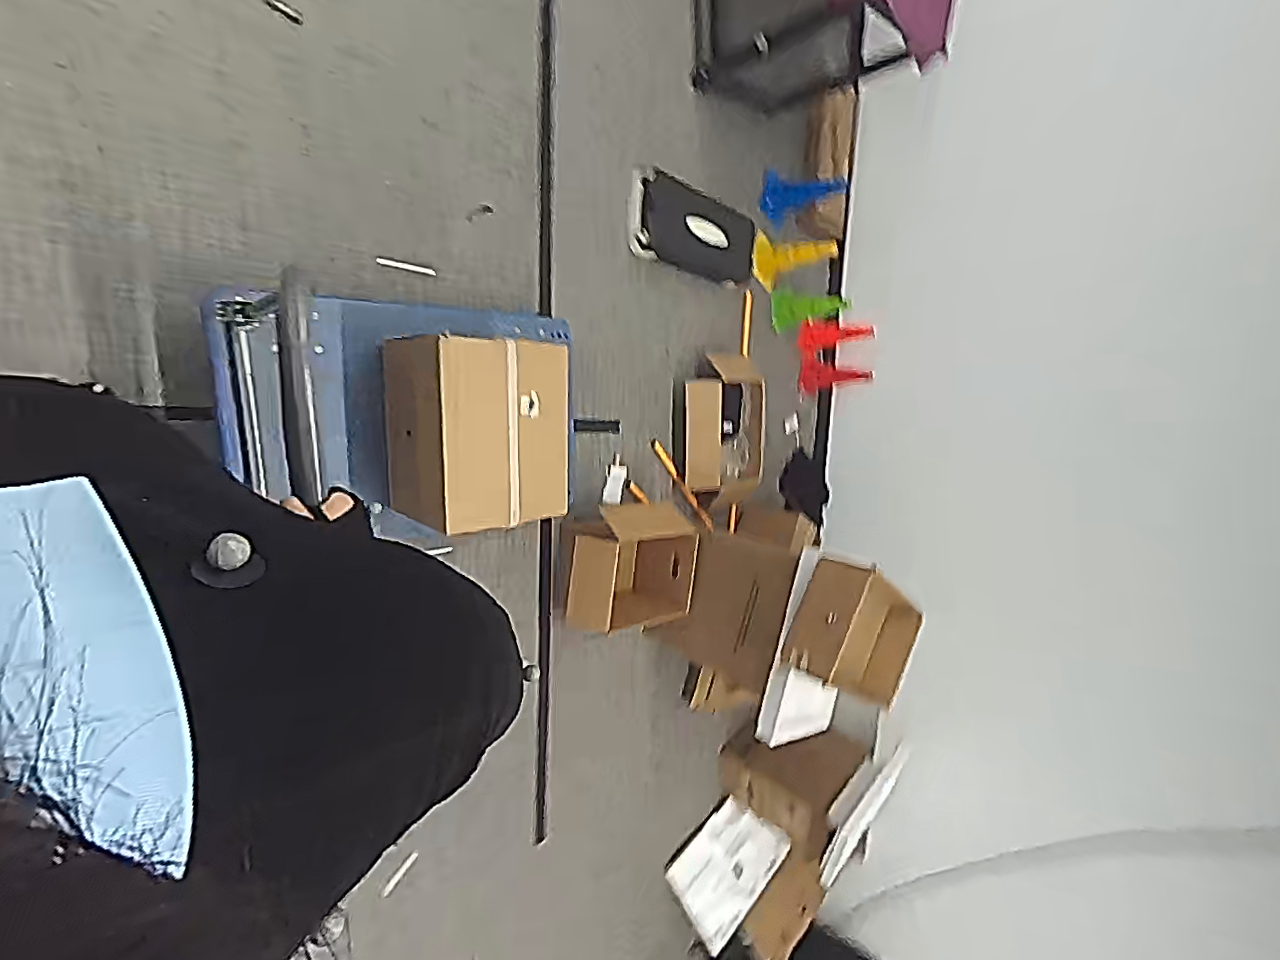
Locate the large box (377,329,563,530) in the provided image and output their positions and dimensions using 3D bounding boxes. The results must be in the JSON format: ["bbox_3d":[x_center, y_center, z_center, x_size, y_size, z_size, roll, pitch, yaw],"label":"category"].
[{"bbox_3d":[-0.396,-0.125,1.269,0.320,0.320,0.408,-8,103,-45],"label":"large box"}]
